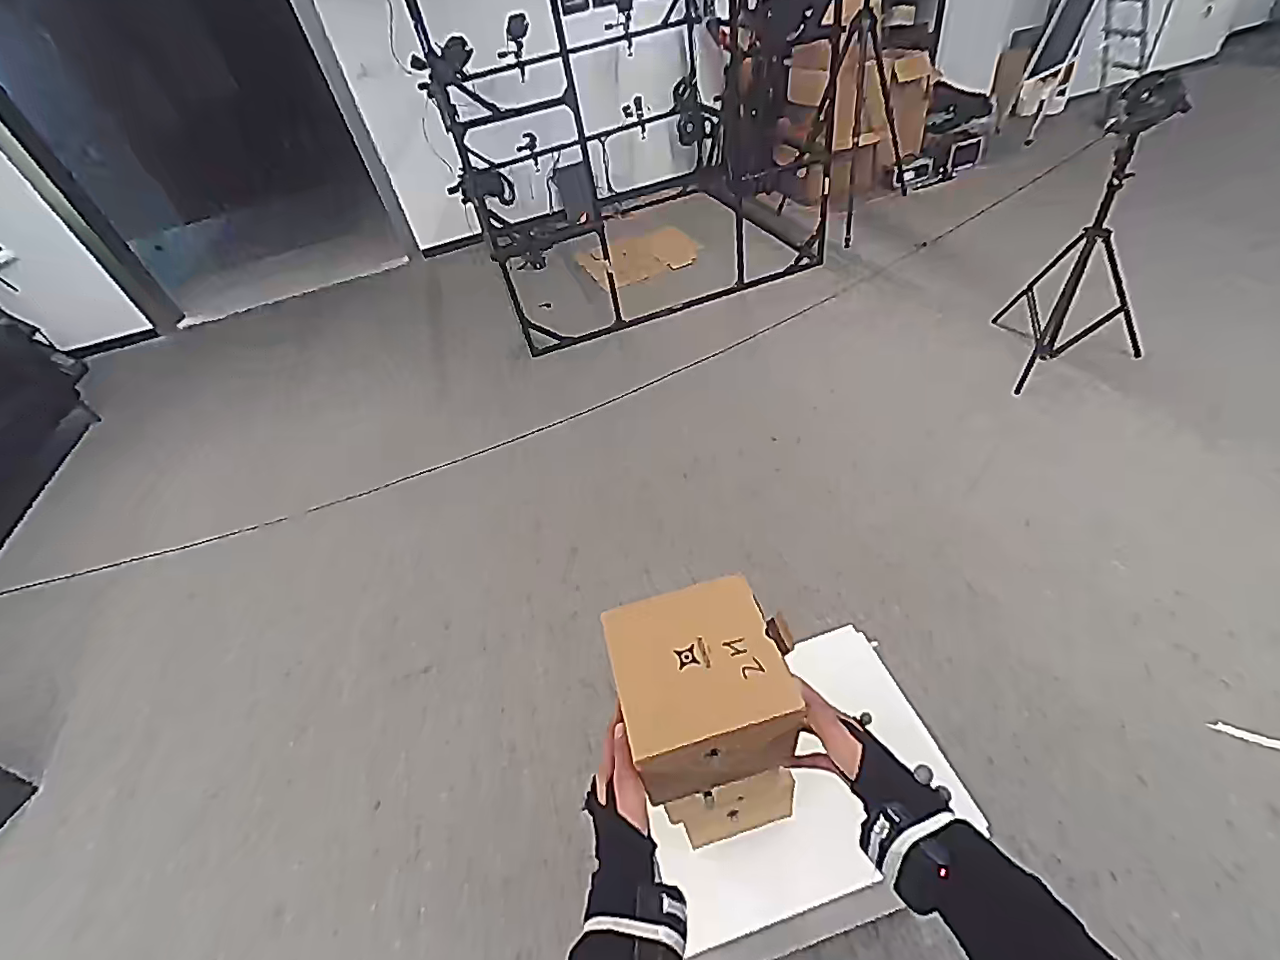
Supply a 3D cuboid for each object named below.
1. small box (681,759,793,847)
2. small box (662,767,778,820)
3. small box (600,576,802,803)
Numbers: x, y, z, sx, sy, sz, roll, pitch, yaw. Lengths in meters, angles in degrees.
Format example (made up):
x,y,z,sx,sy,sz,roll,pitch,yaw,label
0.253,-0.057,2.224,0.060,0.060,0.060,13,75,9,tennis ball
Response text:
x,y,z,sx,sy,sz,roll,pitch,yaw,label
0.137,0.474,0.892,0.179,0.176,0.168,-16,43,-5,small box
0.093,0.363,0.780,0.168,0.176,0.179,-16,42,-3,small box
0.066,0.243,0.622,0.179,0.176,0.168,-15,46,-5,small box
